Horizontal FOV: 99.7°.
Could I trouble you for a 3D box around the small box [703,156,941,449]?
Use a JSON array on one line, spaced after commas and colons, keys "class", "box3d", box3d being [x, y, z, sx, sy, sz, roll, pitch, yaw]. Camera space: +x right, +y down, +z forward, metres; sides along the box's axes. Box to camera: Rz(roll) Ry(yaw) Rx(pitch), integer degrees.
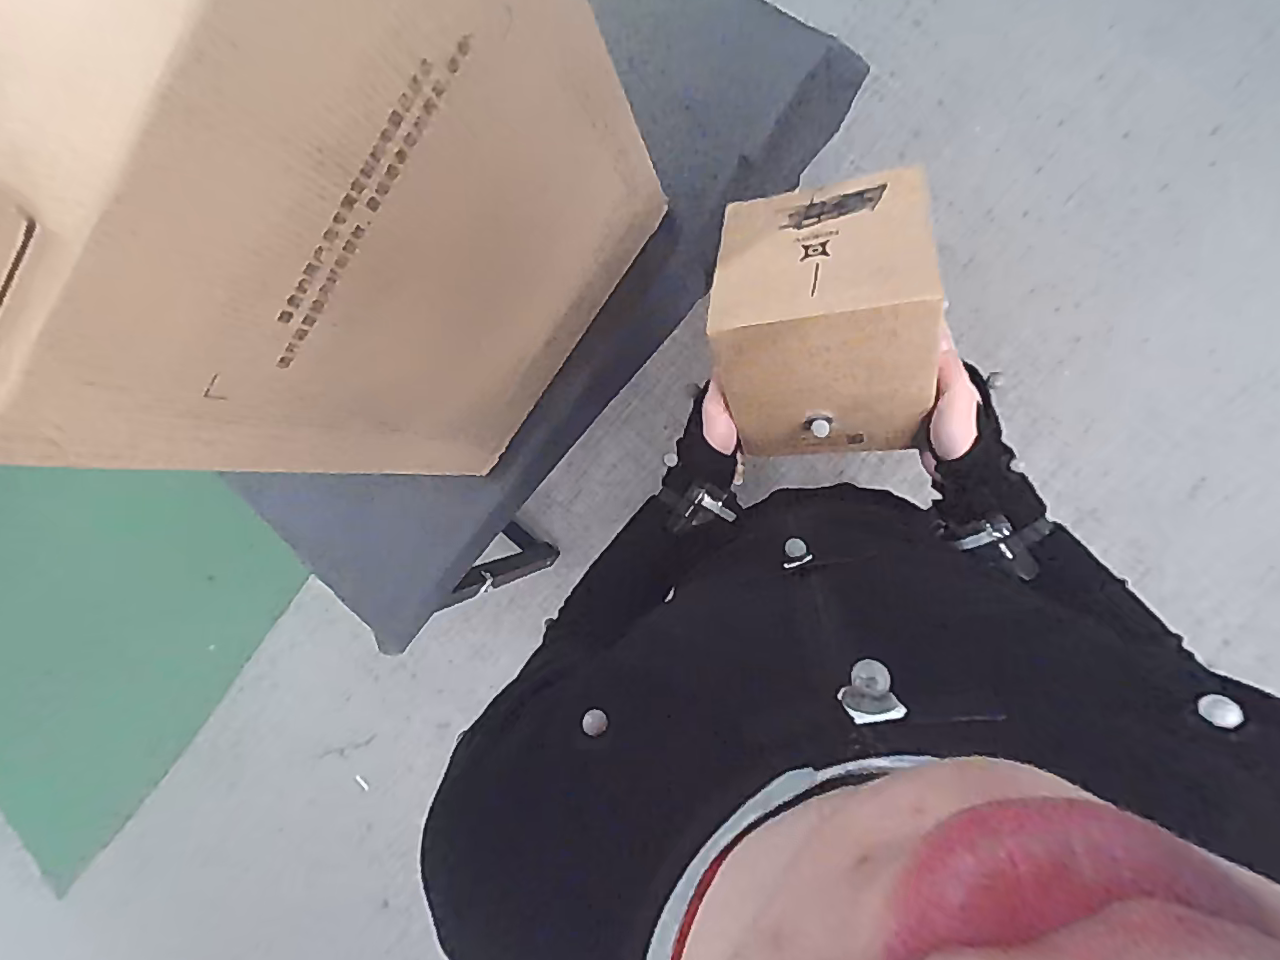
[{"class": "small box", "box3d": [0.166, -0.147, 0.488, 0.168, 0.176, 0.179, -1, 57, 23]}]
